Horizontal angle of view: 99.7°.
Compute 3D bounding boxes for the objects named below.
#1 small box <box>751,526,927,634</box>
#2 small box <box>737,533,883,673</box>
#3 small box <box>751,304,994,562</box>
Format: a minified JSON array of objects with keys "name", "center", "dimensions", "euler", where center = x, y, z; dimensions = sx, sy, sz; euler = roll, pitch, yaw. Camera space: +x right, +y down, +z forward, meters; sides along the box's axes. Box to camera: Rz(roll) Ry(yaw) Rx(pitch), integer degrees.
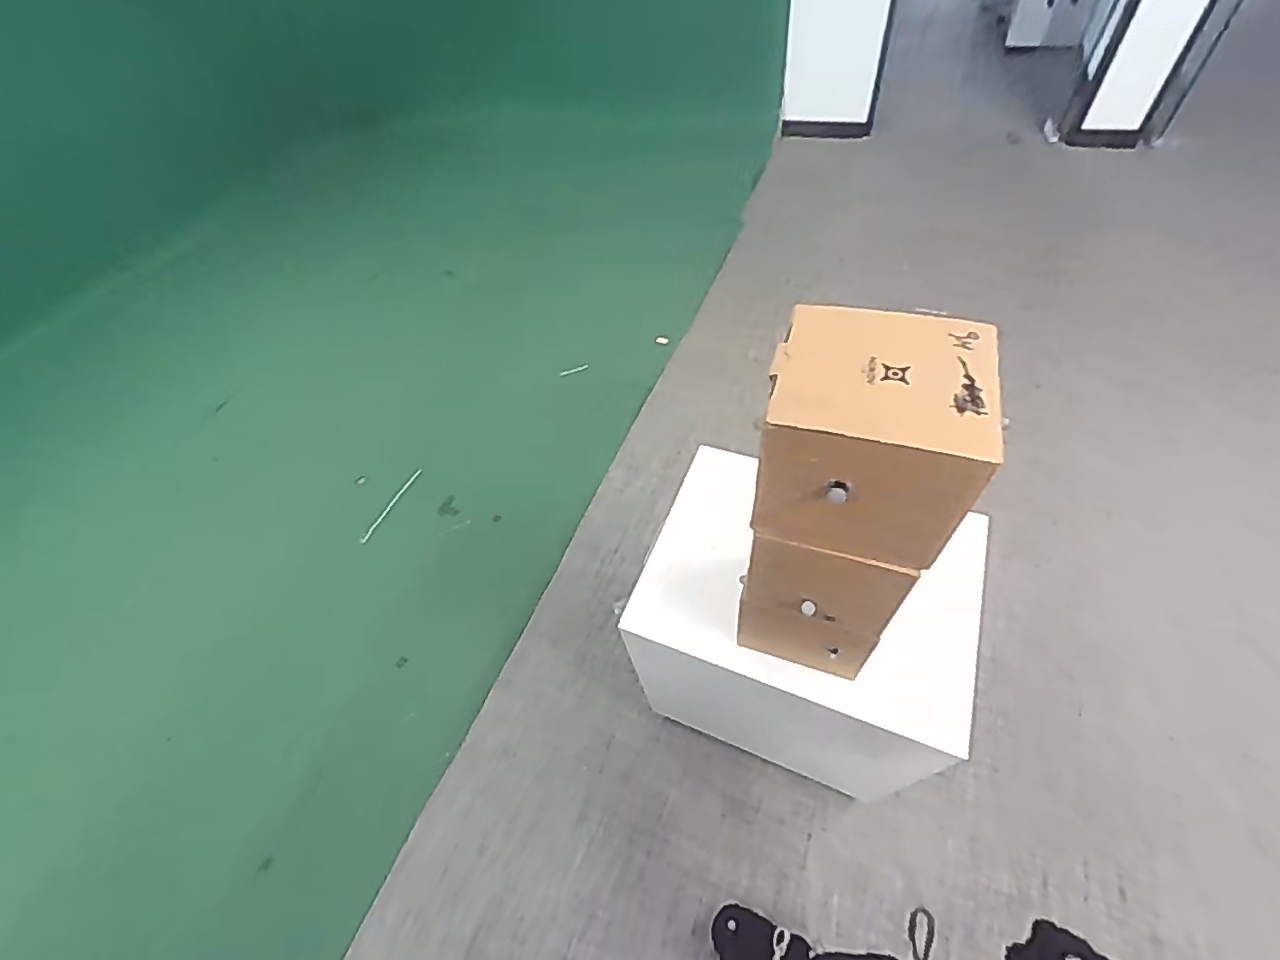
[{"name":"small box","center":[0.230,0.054,0.644],"dimensions":[0.168,0.176,0.179],"euler":[11,54,16]},{"name":"small box","center":[0.244,0.157,0.771],"dimensions":[0.179,0.176,0.168],"euler":[12,56,19]},{"name":"small box","center":[0.207,-0.042,0.513],"dimensions":[0.179,0.176,0.168],"euler":[12,56,17]}]
